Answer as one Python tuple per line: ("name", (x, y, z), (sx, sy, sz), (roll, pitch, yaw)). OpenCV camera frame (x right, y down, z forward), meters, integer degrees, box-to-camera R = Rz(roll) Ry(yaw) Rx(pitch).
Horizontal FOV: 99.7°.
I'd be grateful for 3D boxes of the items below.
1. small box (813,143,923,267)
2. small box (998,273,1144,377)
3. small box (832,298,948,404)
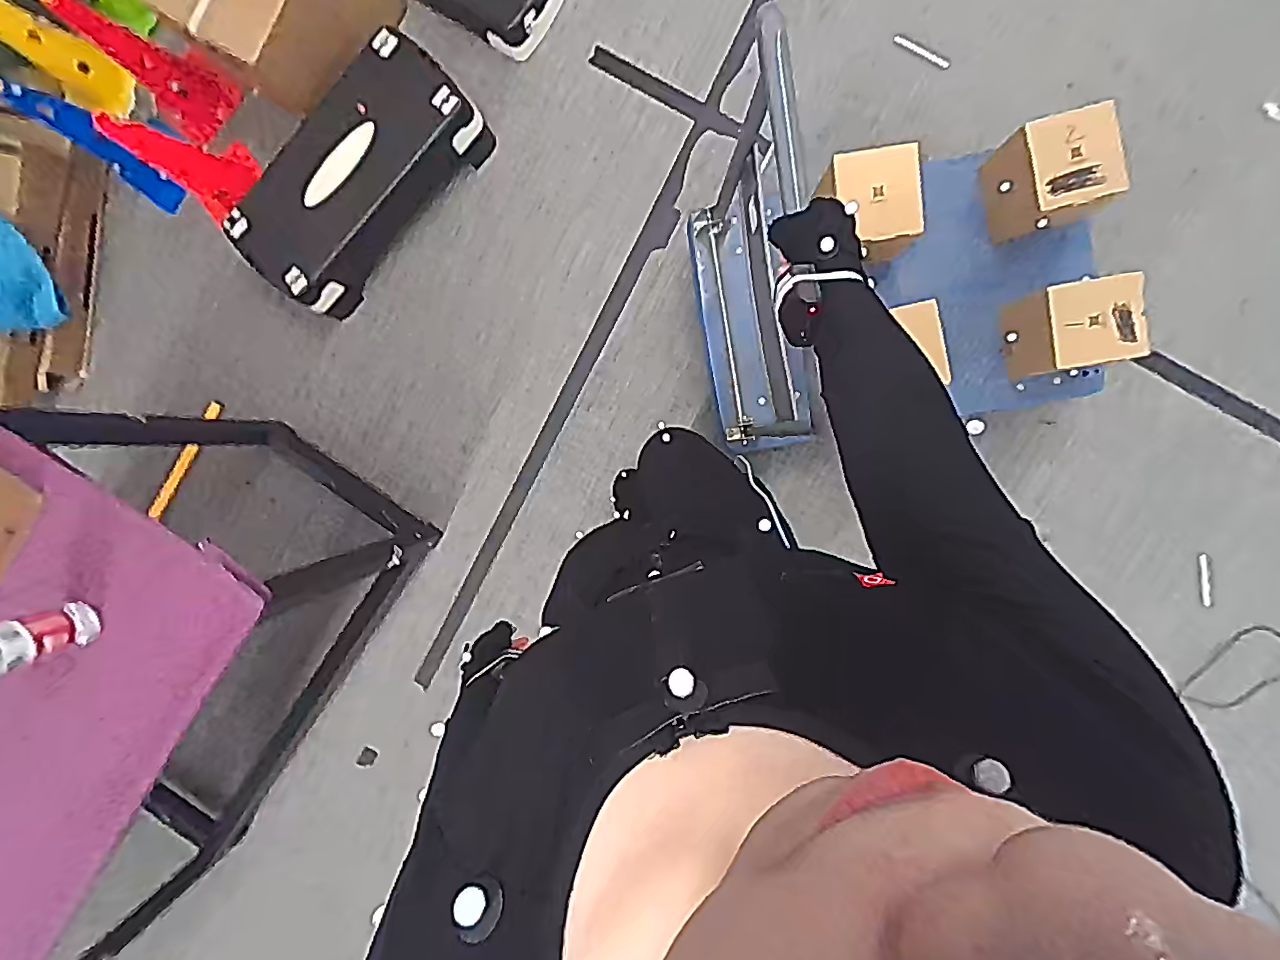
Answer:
("small box", (0.475, -0.574, 1.149), (0.168, 0.176, 0.179), (-7, 95, 3))
("small box", (0.899, -0.319, 1.141), (0.179, 0.176, 0.168), (-8, 94, 5))
("small box", (0.529, -0.270, 1.168), (0.168, 0.176, 0.179), (-11, 93, 5))
